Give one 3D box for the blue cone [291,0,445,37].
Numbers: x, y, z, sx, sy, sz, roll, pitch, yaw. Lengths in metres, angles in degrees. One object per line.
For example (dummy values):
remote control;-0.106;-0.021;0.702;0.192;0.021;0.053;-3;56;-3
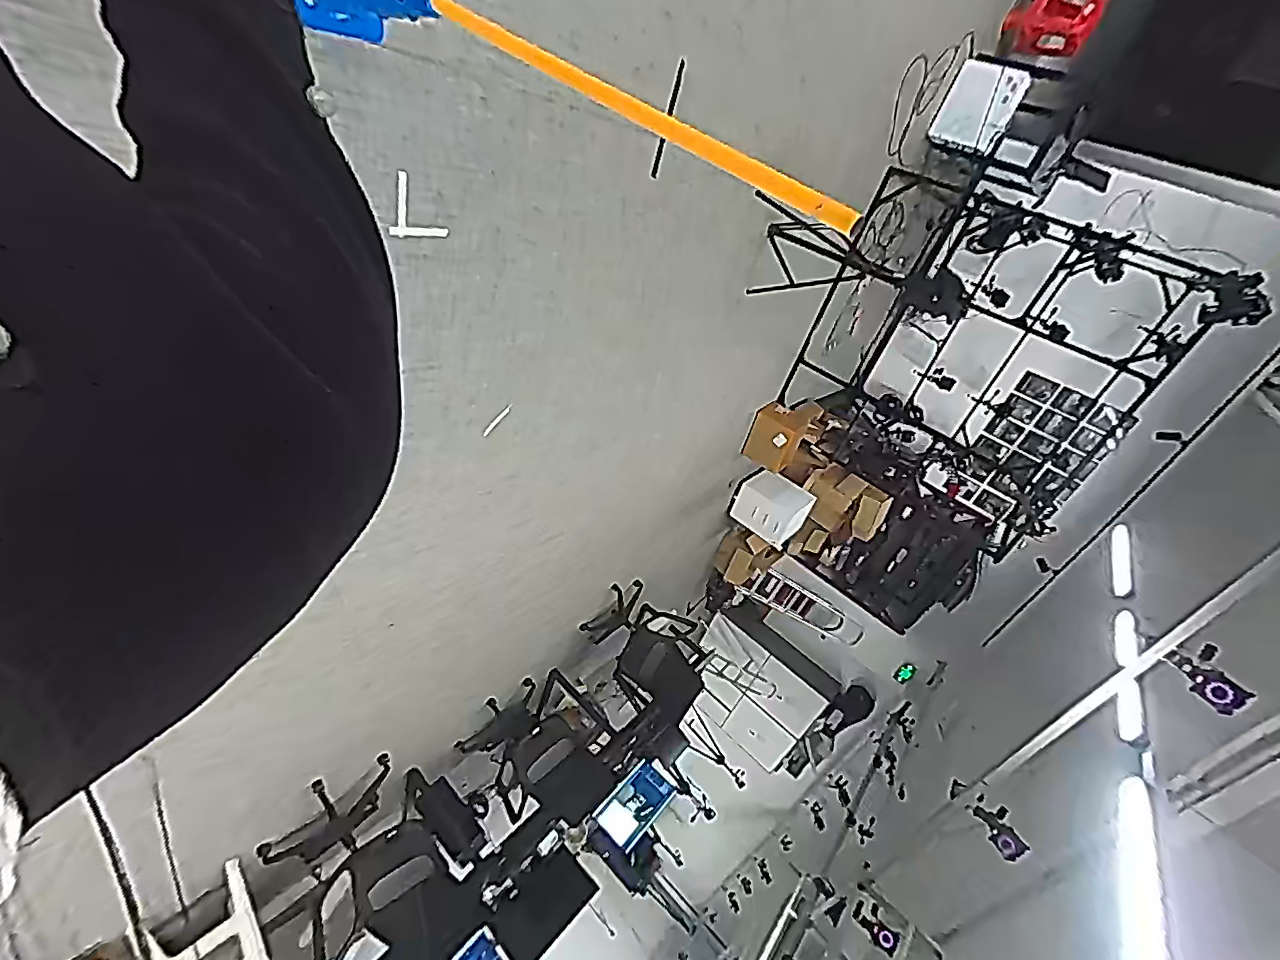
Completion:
blue cone;-0.477;-0.913;0.990;0.193;0.380;0.192;-27;144;-45
